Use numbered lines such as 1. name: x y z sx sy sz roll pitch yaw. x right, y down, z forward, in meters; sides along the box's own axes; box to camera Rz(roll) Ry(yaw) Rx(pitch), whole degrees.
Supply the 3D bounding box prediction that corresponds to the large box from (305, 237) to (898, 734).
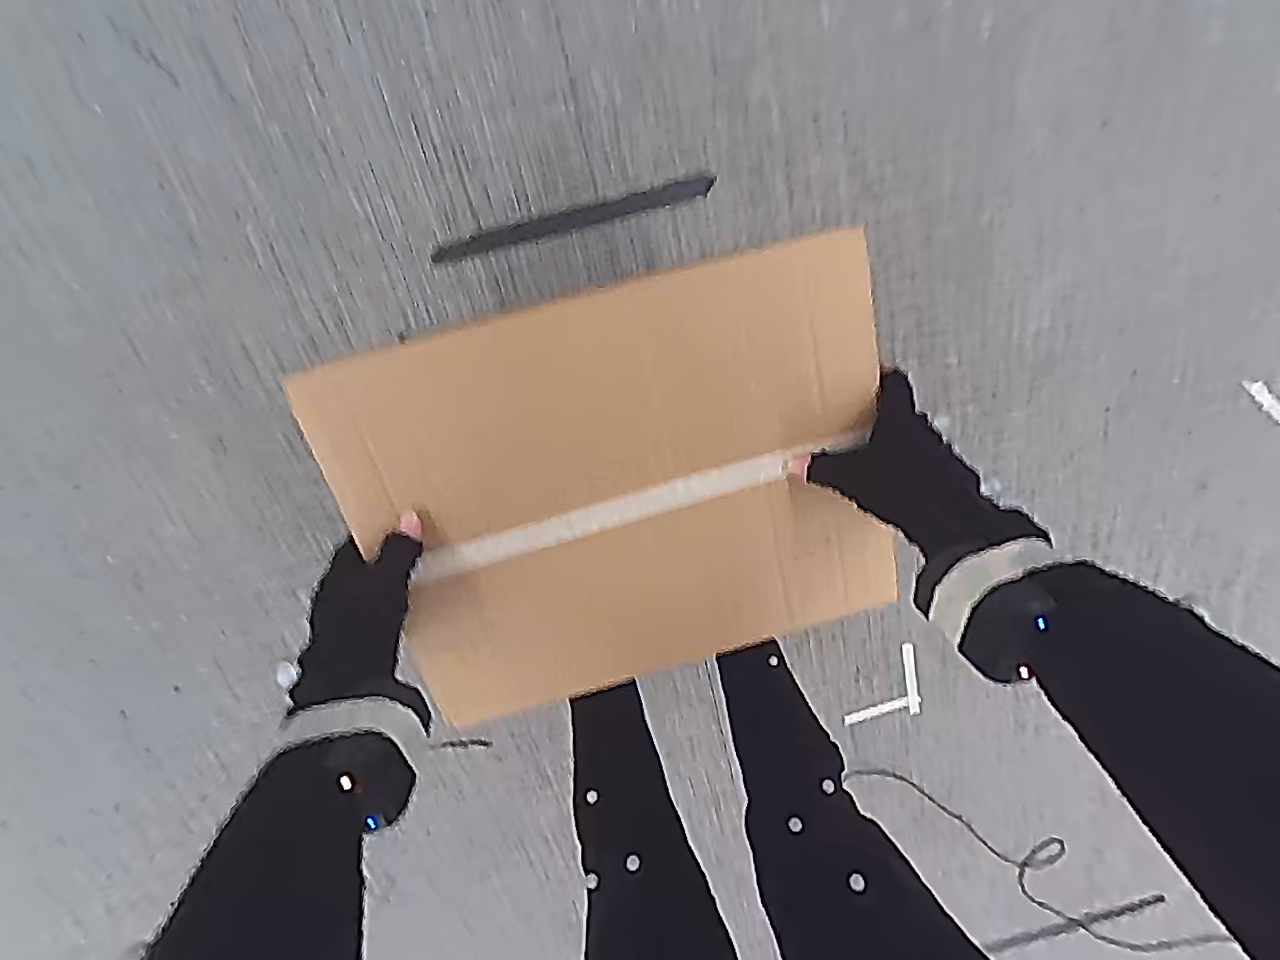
1. large box: -0.020 -0.021 0.557 0.408 0.320 0.320 -16 111 -2
